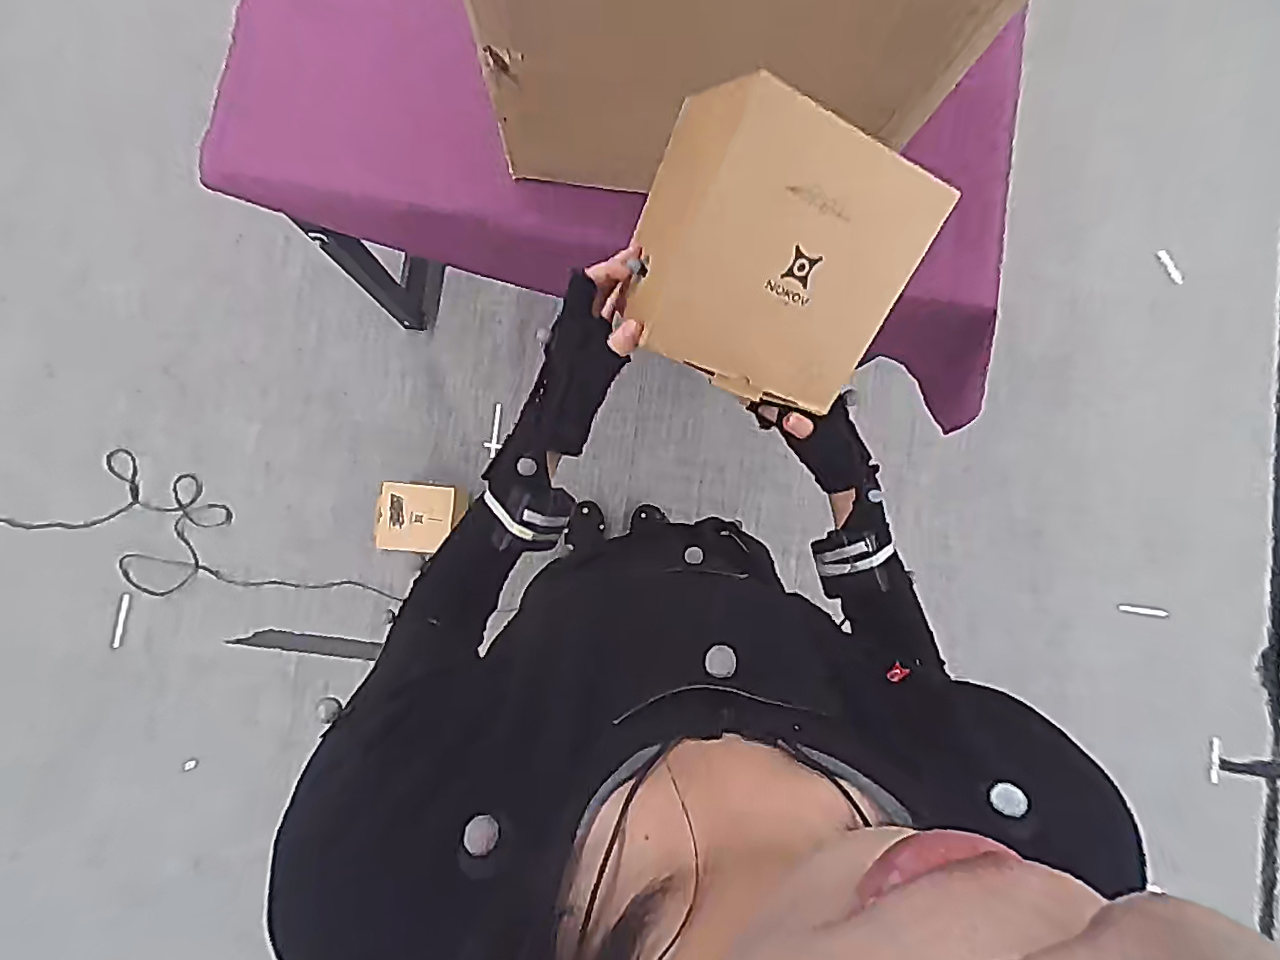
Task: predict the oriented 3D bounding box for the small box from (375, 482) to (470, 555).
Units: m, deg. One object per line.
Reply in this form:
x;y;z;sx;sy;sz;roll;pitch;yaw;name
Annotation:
-0.552;0.099;1.395;0.179;0.176;0.168;5;86;-5;small box

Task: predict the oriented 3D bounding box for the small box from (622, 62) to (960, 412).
0.094;-0.183;0.433;0.168;0.176;0.179;14;115;-21;small box
